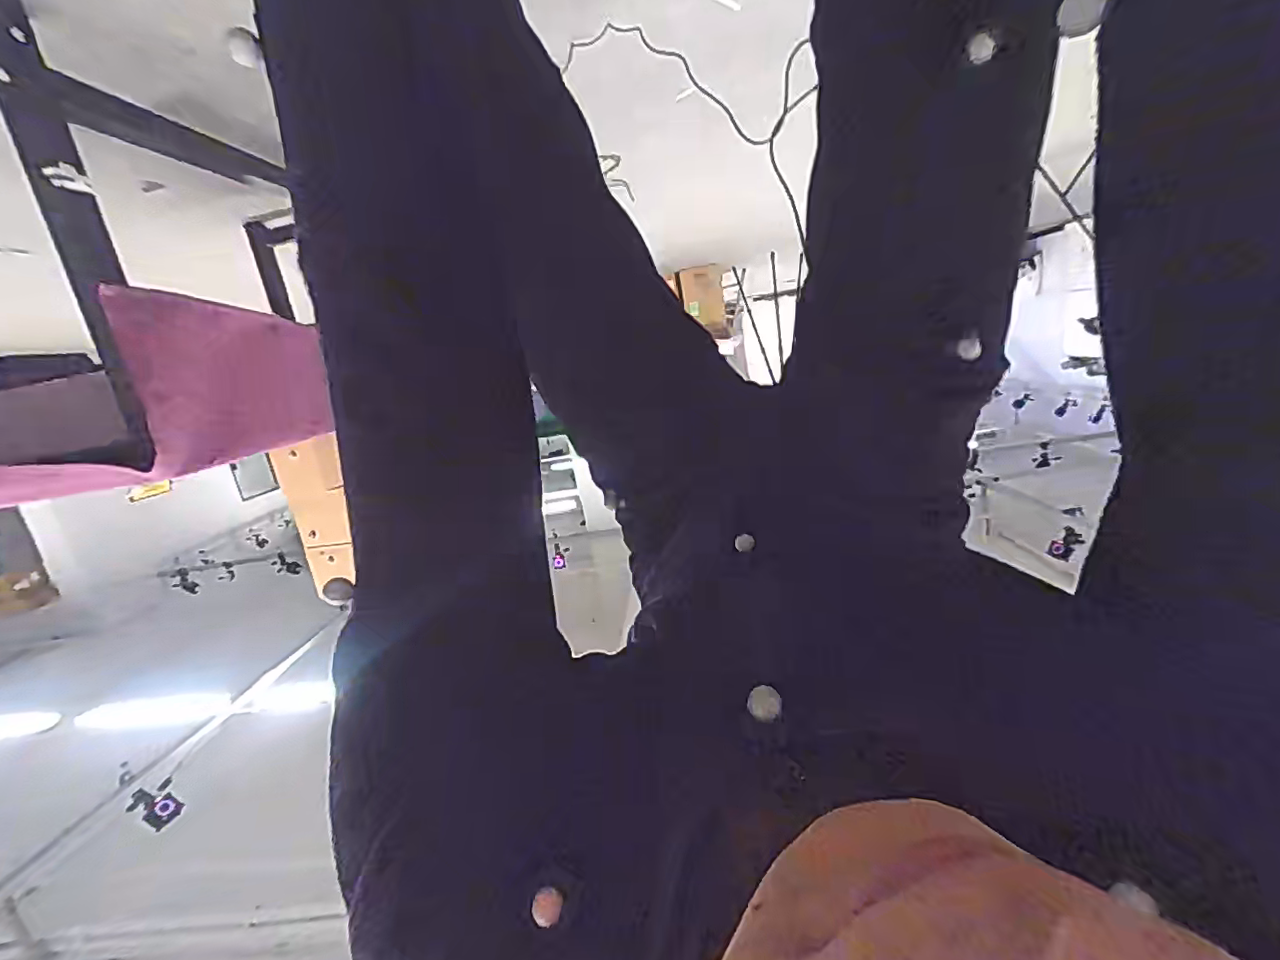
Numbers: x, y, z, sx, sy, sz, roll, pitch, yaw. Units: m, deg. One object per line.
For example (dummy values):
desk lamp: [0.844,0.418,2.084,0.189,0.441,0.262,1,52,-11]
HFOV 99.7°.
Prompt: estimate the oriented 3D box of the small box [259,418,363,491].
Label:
small box: [-0.950,-0.080,1.568,0.168,0.176,0.179,-6,-166,16]

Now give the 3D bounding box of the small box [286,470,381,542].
small box: [-0.927,0.073,1.631,0.179,0.176,0.168,-7,-164,11]
